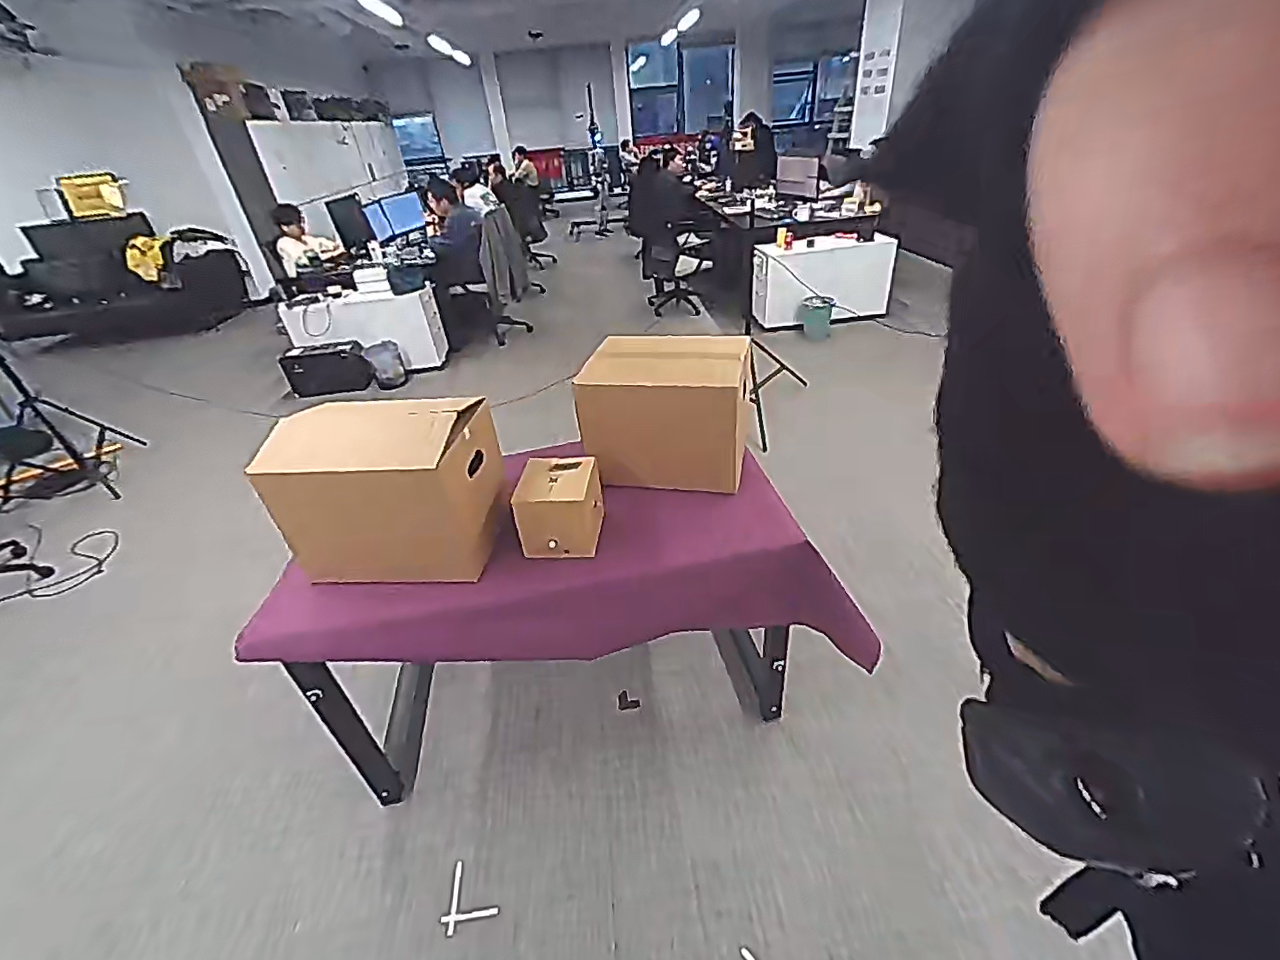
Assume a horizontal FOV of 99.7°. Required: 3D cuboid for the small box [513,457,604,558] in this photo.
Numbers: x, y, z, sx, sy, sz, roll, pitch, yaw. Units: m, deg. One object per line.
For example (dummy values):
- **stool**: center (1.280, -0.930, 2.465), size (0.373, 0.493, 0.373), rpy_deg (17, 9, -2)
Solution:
- **small box**: center (-0.181, 0.062, 1.269), size (0.168, 0.176, 0.179), rpy_deg (-2, 34, 7)
